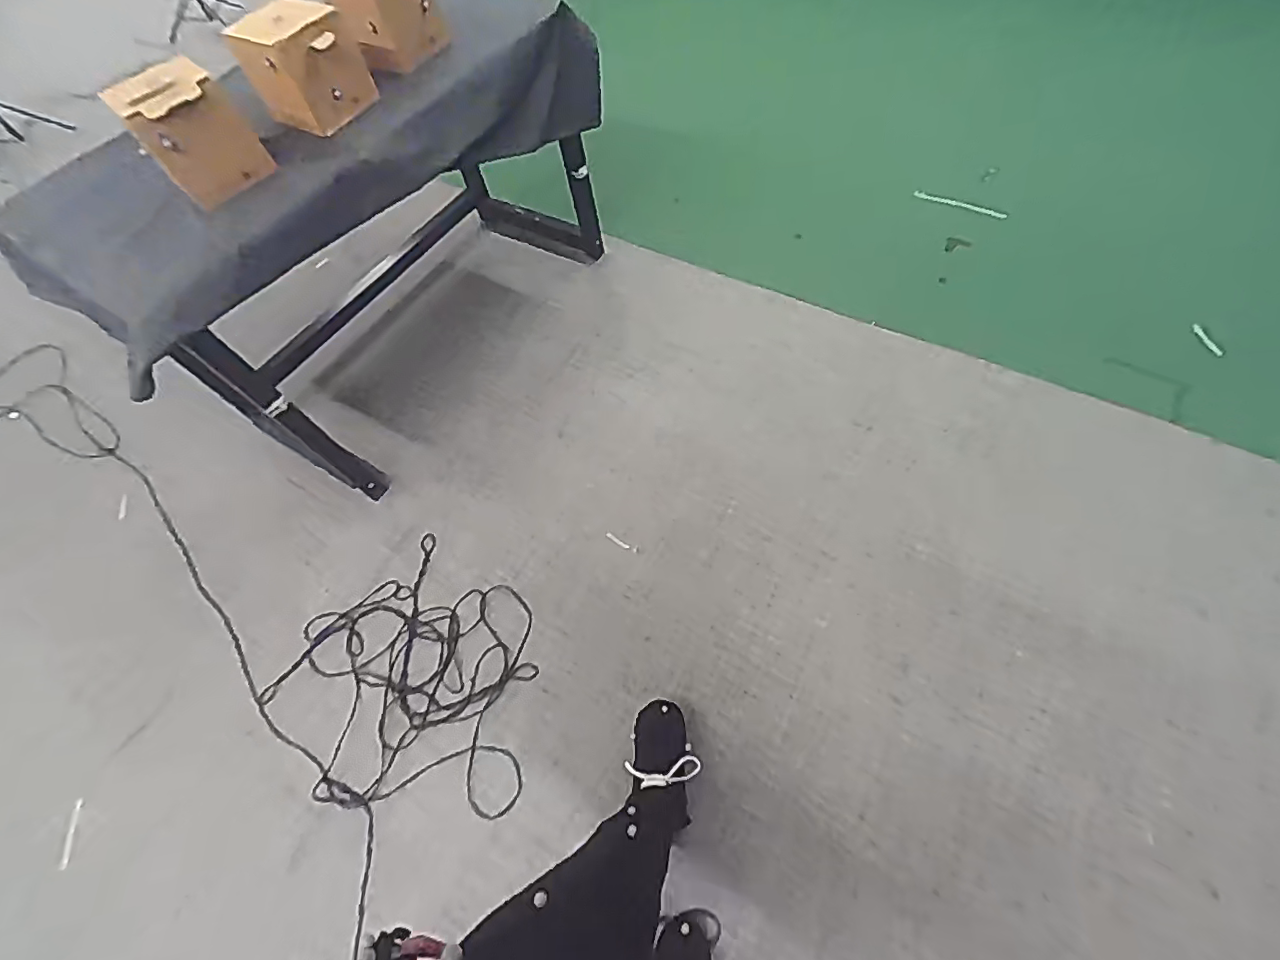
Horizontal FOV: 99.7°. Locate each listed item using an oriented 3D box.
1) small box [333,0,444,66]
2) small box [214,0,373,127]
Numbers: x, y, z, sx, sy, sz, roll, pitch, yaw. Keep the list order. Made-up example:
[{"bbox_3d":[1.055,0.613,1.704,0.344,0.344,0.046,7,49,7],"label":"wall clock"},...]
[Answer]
[{"bbox_3d":[-0.576,-1.060,1.205,0.179,0.176,0.168,23,65,19],"label":"small box"},{"bbox_3d":[-0.700,-0.862,1.111,0.179,0.176,0.168,26,67,19],"label":"small box"}]
